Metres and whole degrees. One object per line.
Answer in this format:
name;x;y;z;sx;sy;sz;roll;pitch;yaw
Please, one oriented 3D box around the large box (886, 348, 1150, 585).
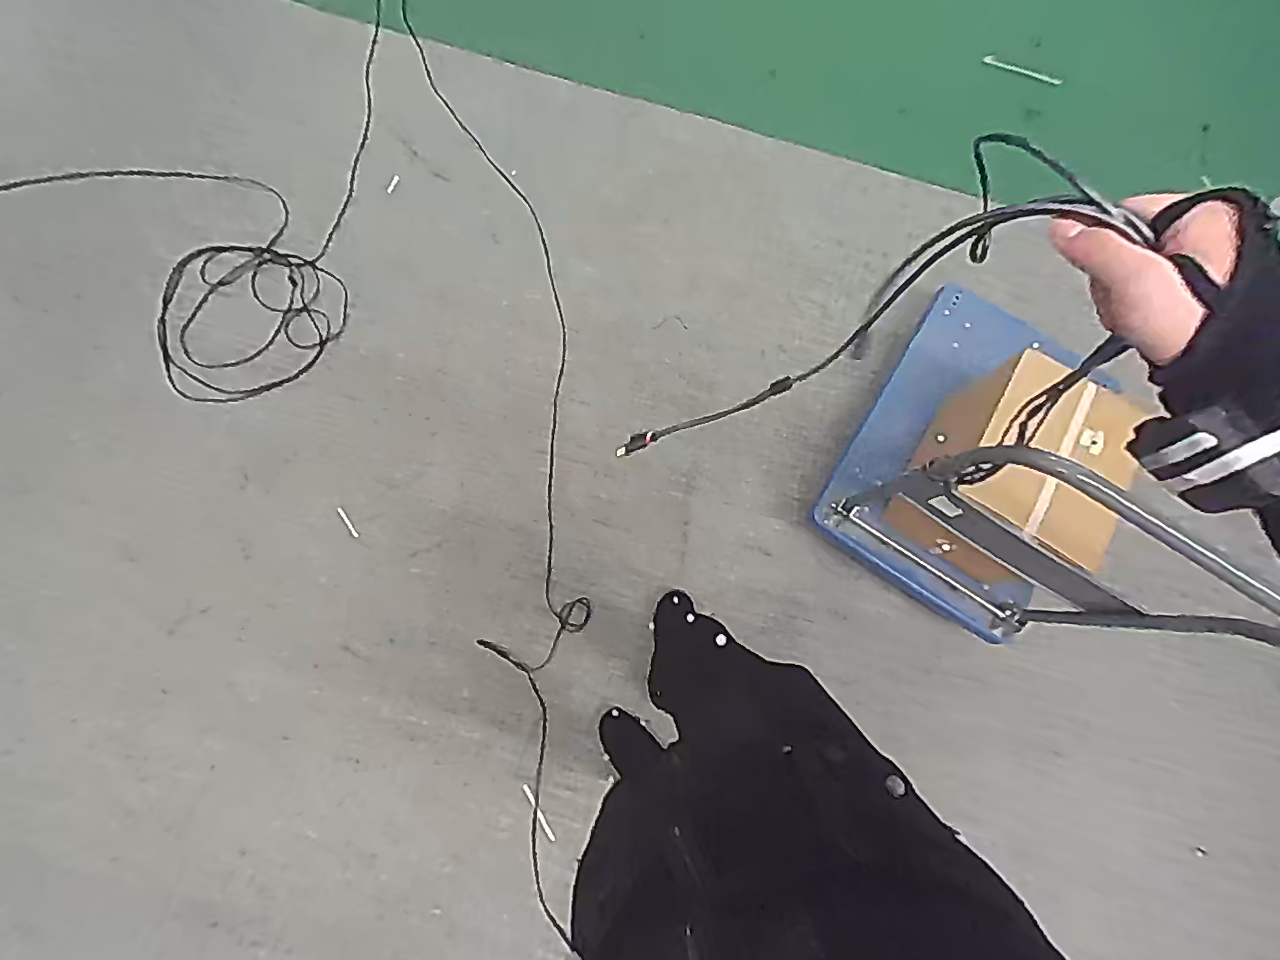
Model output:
large box;0.857;-0.013;1.265;0.320;0.320;0.408;33;74;4
